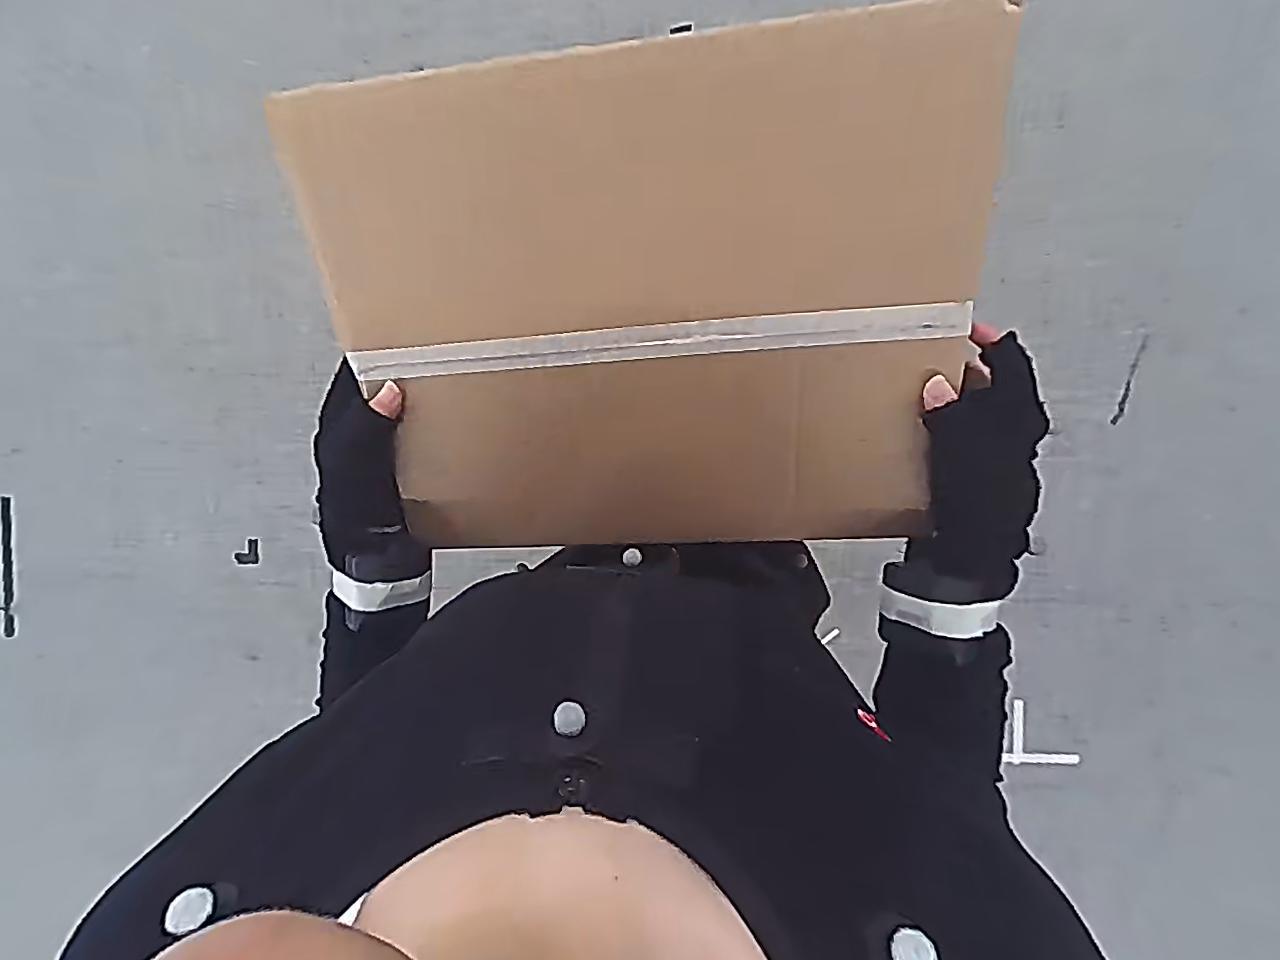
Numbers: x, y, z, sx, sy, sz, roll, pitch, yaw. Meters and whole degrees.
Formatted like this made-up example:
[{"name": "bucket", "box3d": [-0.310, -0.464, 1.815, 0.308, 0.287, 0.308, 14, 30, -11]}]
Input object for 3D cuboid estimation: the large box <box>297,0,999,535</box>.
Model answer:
[{"name": "large box", "box3d": [0.014, -0.167, 0.496, 0.408, 0.320, 0.320, -2, 118, 7]}]
